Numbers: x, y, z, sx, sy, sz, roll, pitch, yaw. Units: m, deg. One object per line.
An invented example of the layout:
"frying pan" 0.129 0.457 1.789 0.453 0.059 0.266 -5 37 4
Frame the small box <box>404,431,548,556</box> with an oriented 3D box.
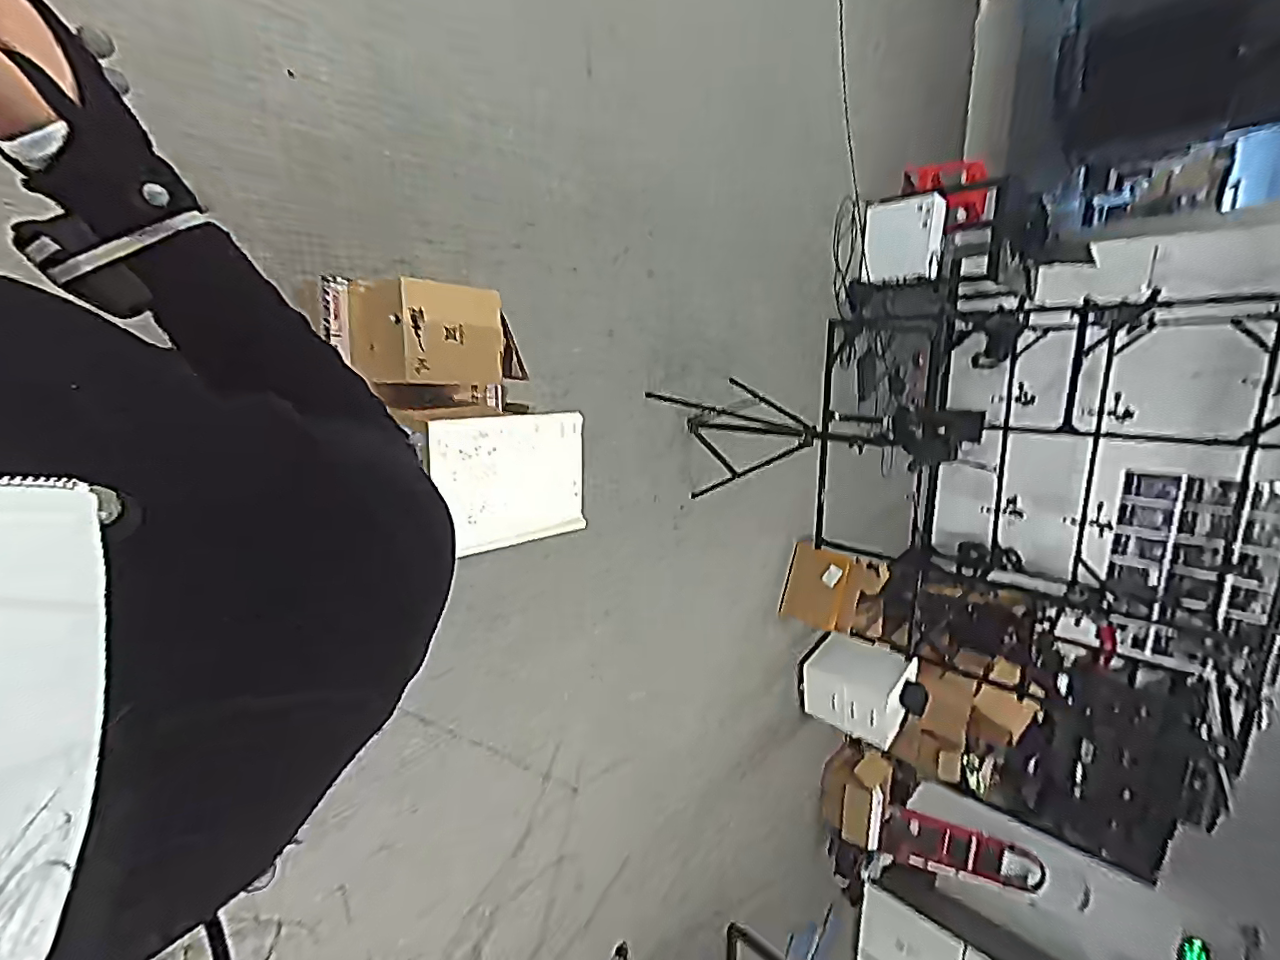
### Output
"small box" -0.276 0.012 0.913 0.179 0.176 0.168 -10 107 -44
